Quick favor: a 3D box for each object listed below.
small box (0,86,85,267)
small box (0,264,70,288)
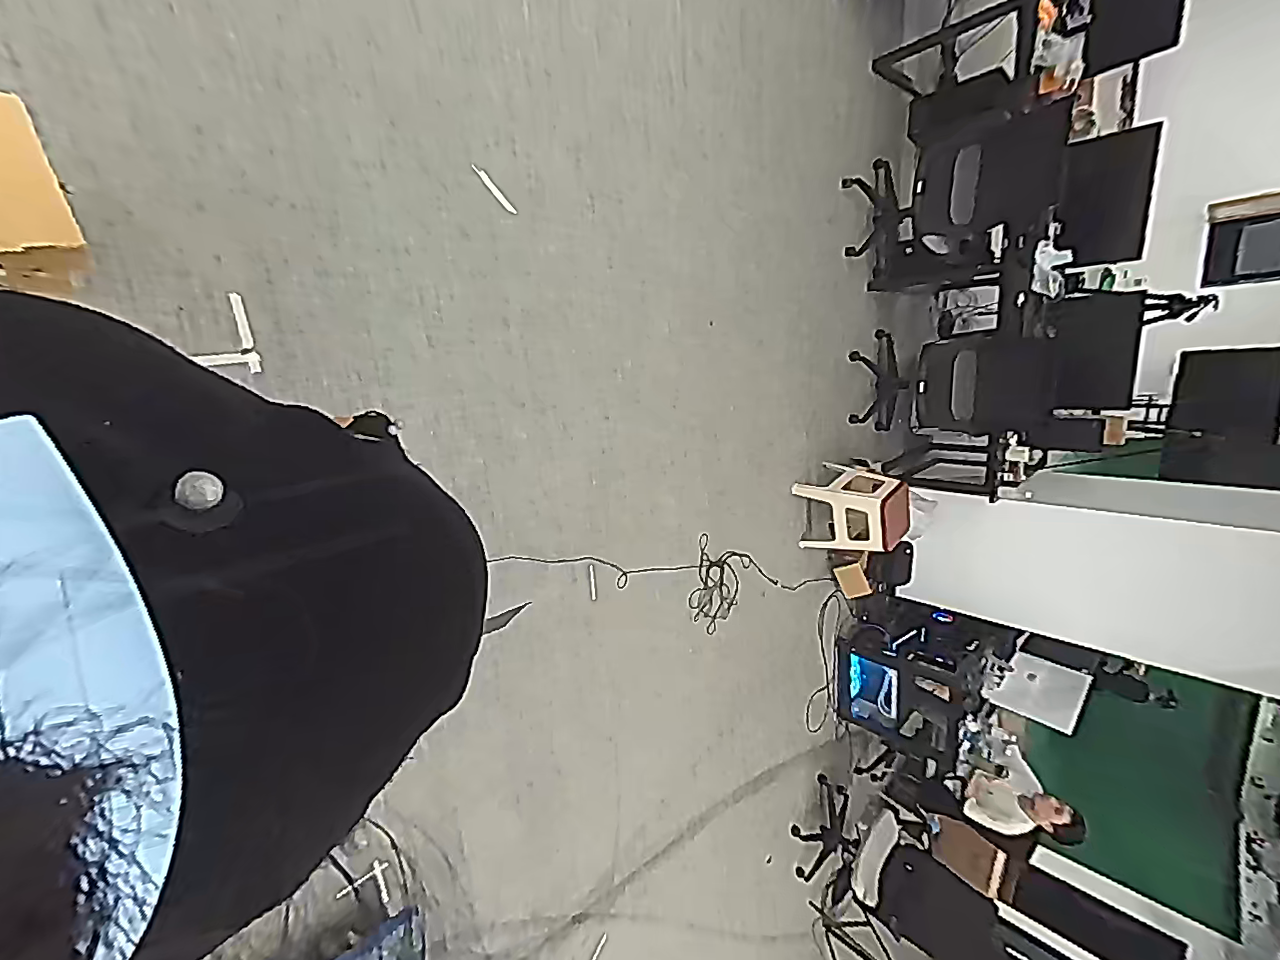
[{"bbox_3d":[-0.852,-0.376,0.684,0.168,0.176,0.179,-25,114,-39],"label":"small box"},{"bbox_3d":[-0.973,-0.391,0.792,0.168,0.176,0.179,-10,104,-42],"label":"small box"}]
